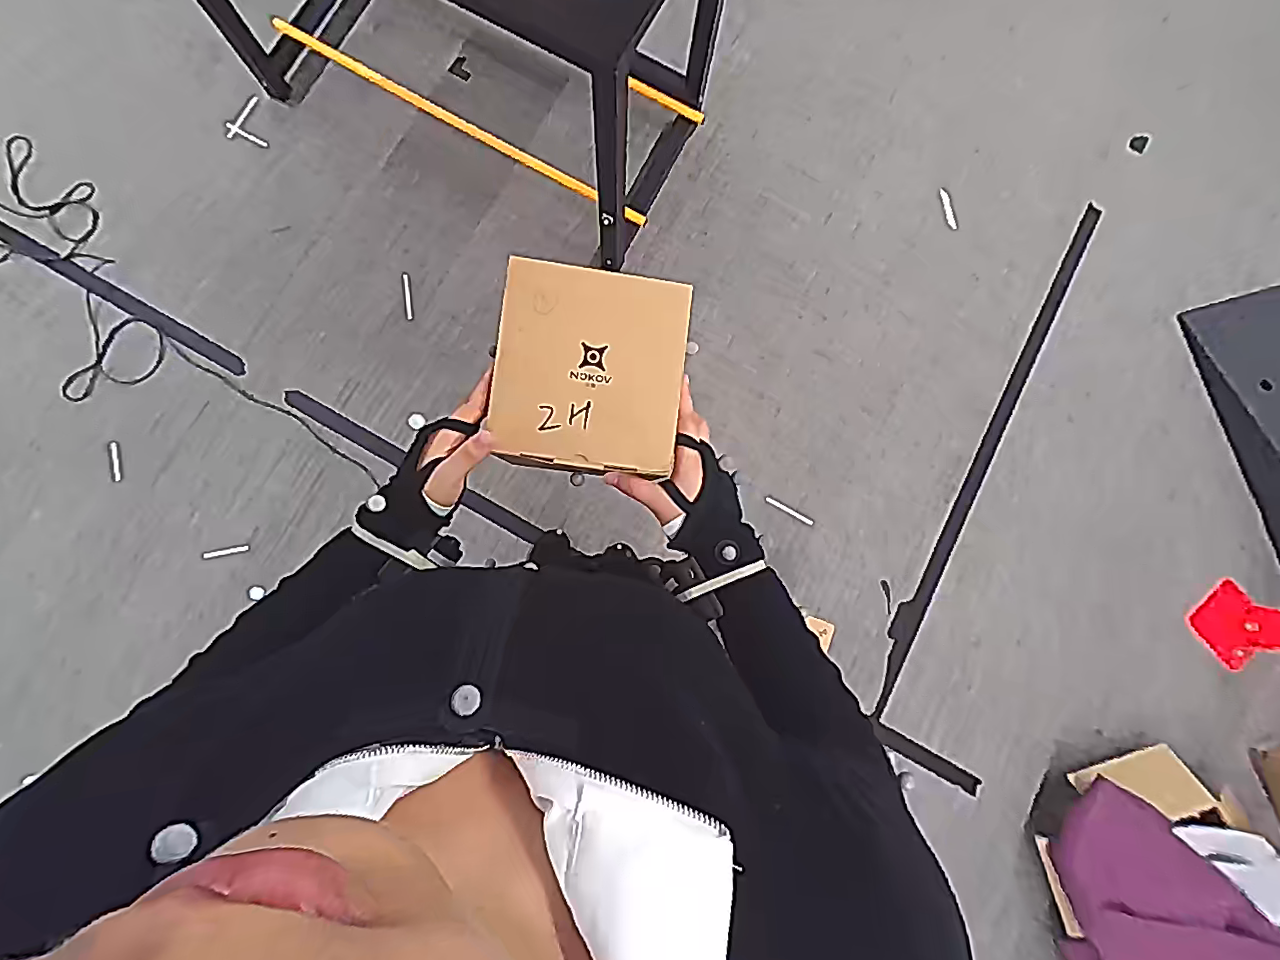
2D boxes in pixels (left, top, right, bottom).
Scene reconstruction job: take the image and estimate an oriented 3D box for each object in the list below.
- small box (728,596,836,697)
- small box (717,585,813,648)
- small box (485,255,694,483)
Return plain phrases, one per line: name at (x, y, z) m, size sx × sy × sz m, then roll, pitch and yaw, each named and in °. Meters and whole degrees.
small box at (0.320, 0.377, 1.258) m, size 0.179 × 0.176 × 0.168 m, roll 21°, pitch 82°, yaw 1°
small box at (0.322, 0.382, 1.423) m, size 0.179 × 0.176 × 0.168 m, roll 22°, pitch 82°, yaw 2°
small box at (-0.049, -0.096, 0.551) m, size 0.168 × 0.176 × 0.179 m, roll 7°, pitch 87°, yaw -5°
